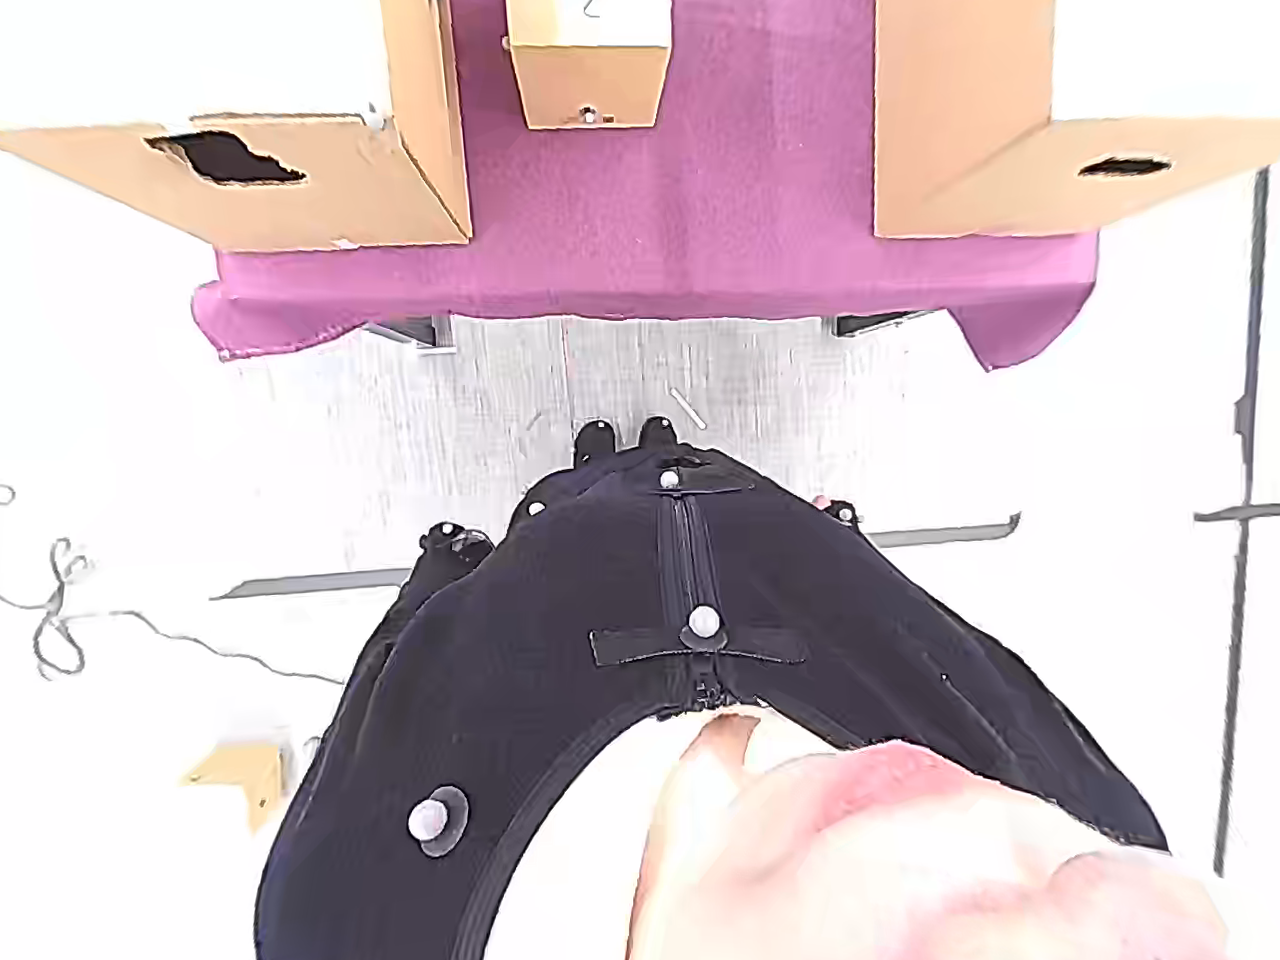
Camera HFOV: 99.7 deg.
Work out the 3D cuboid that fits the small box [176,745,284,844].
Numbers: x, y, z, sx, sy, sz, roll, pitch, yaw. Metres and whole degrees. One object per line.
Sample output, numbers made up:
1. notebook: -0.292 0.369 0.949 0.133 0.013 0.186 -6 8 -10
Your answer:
1. small box: -1.080 0.831 1.443 0.179 0.176 0.168 2 98 -5
